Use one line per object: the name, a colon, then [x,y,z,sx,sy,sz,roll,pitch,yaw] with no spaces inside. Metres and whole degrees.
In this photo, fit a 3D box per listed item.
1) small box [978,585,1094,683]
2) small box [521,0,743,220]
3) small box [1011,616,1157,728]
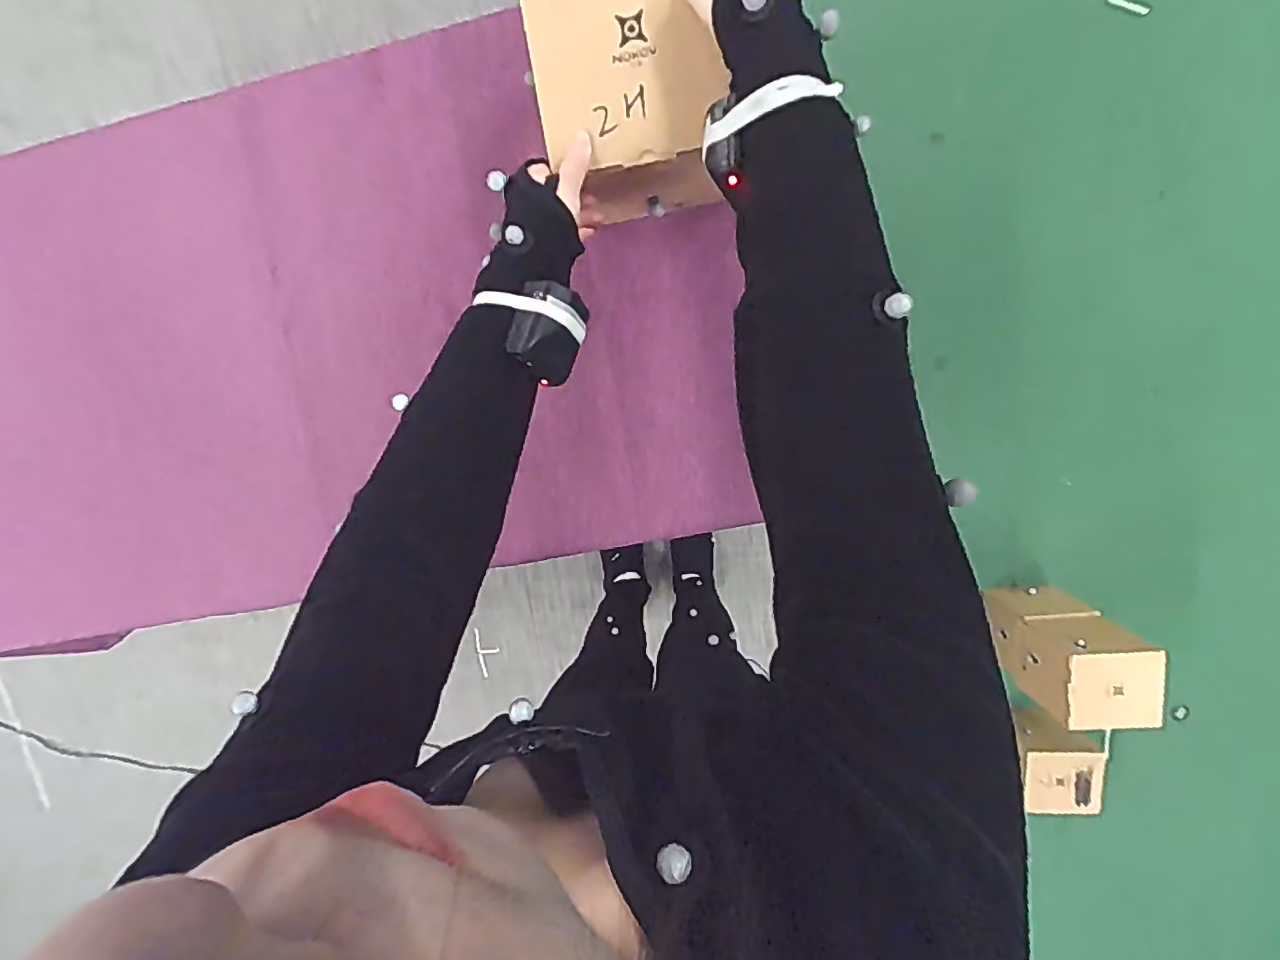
small box: [0.948,0.370,1.309,0.168,0.176,0.179,-5,99,5]
small box: [-0.002,-0.365,0.502,0.168,0.176,0.179,-7,103,7]
small box: [0.932,0.400,1.149,0.179,0.176,0.168,-5,100,6]
